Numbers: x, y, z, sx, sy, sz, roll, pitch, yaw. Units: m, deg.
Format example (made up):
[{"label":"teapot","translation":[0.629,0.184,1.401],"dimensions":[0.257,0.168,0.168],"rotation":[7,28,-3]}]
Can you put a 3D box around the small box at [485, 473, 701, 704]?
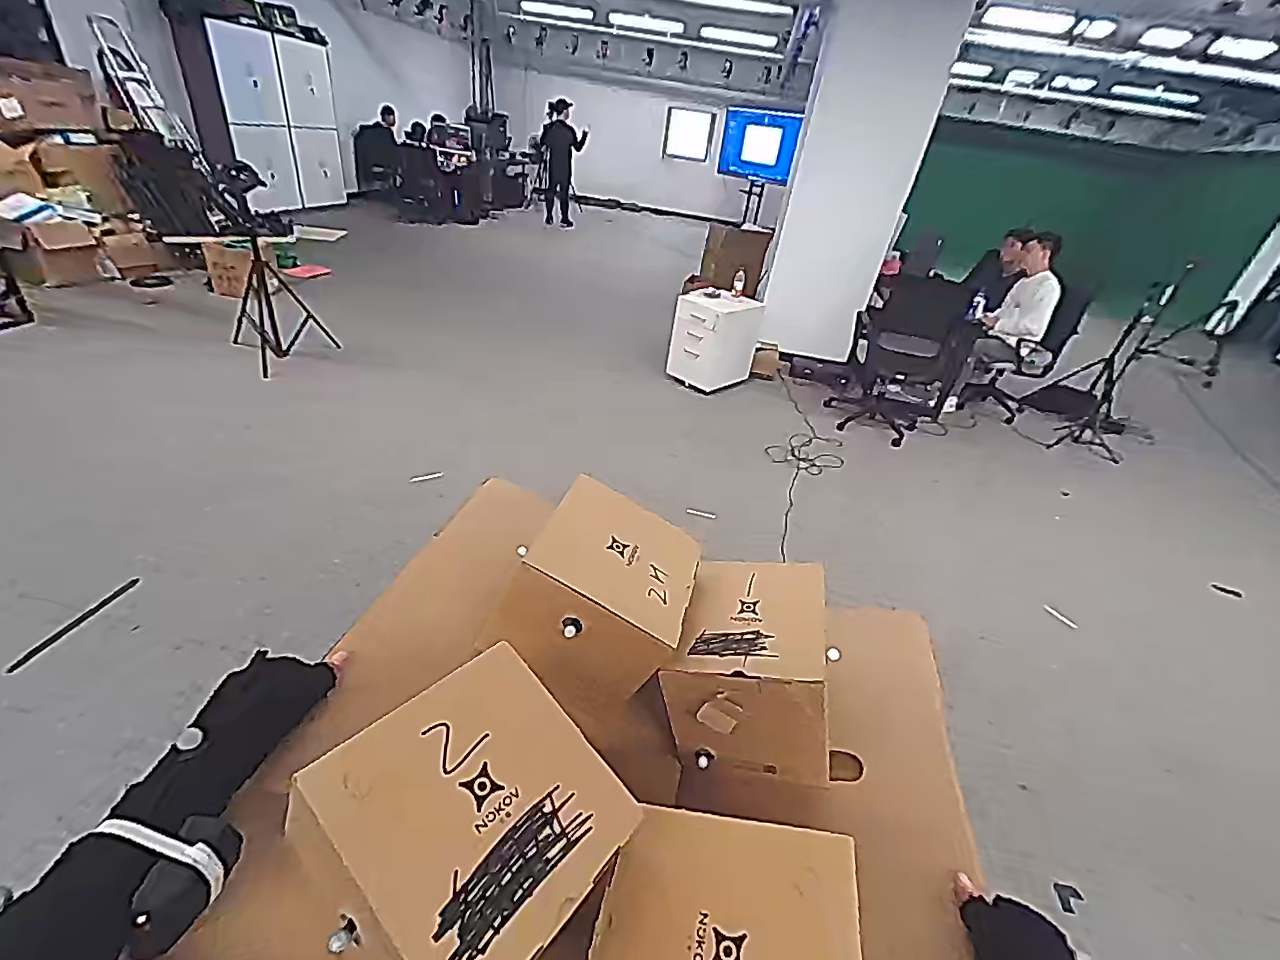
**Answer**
[{"label":"small box","translation":[-0.055,0.130,0.639],"dimensions":[0.179,0.176,0.168],"rotation":[32,36,-3]}]
